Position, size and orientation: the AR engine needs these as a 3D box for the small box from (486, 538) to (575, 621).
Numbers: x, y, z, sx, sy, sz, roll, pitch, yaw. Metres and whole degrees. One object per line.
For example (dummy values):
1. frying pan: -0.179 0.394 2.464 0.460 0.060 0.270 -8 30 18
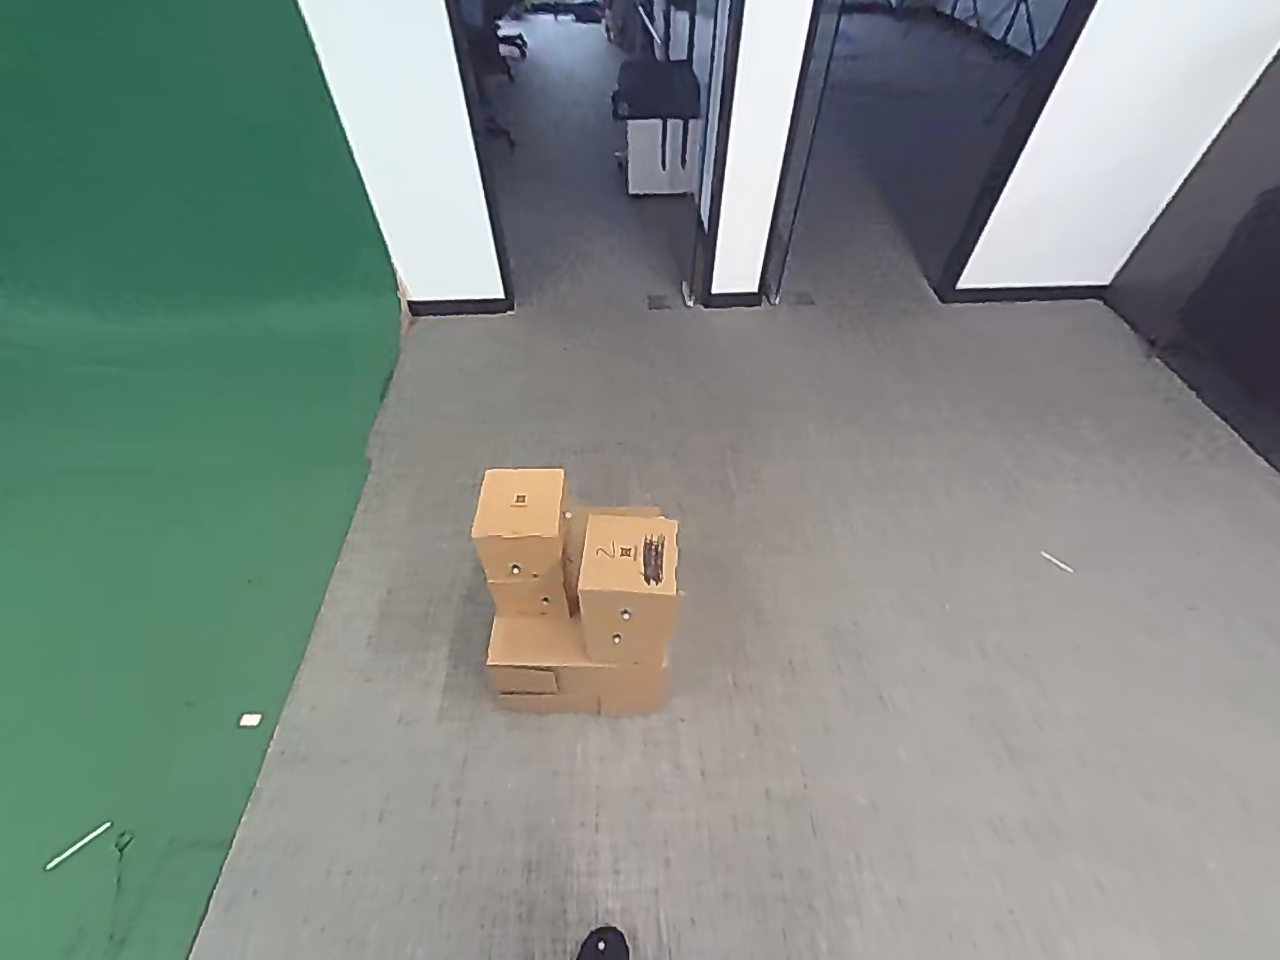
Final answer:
1. small box: -0.245 0.213 1.258 0.168 0.176 0.179 1 47 0

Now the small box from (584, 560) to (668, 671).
1. small box: -0.028 0.296 1.183 0.168 0.176 0.179 2 47 1

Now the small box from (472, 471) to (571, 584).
1. small box: -0.239 0.101 1.139 0.168 0.176 0.179 1 50 0
